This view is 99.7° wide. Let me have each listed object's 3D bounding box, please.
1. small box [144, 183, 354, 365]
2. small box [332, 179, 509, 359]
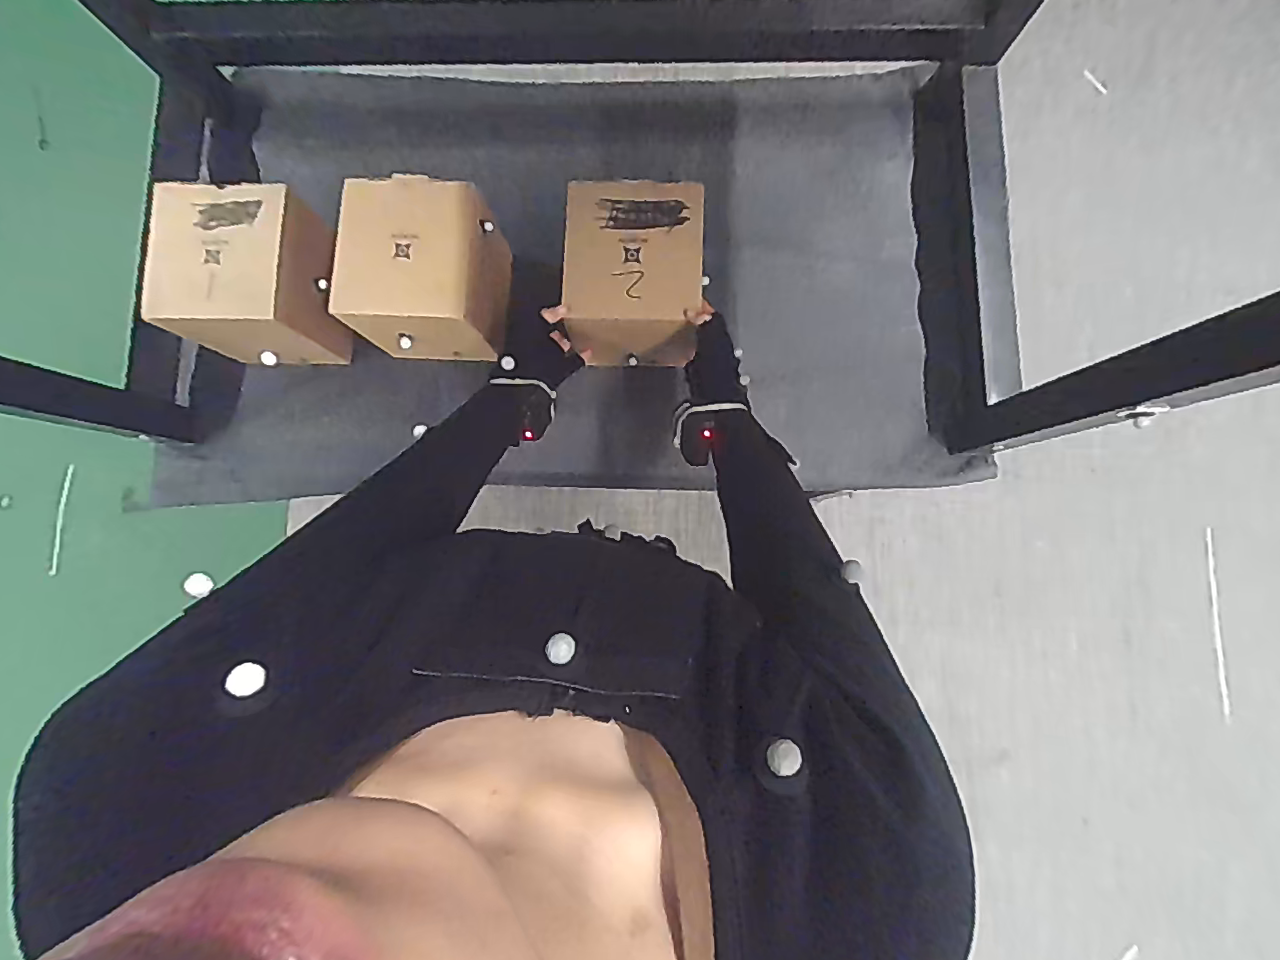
[{"bbox_3d":[-0.510,-0.270,0.736,0.168,0.176,0.179,1,84,1],"label":"small box"},{"bbox_3d":[-0.283,-0.274,0.734,0.168,0.176,0.179,2,83,1],"label":"small box"}]
